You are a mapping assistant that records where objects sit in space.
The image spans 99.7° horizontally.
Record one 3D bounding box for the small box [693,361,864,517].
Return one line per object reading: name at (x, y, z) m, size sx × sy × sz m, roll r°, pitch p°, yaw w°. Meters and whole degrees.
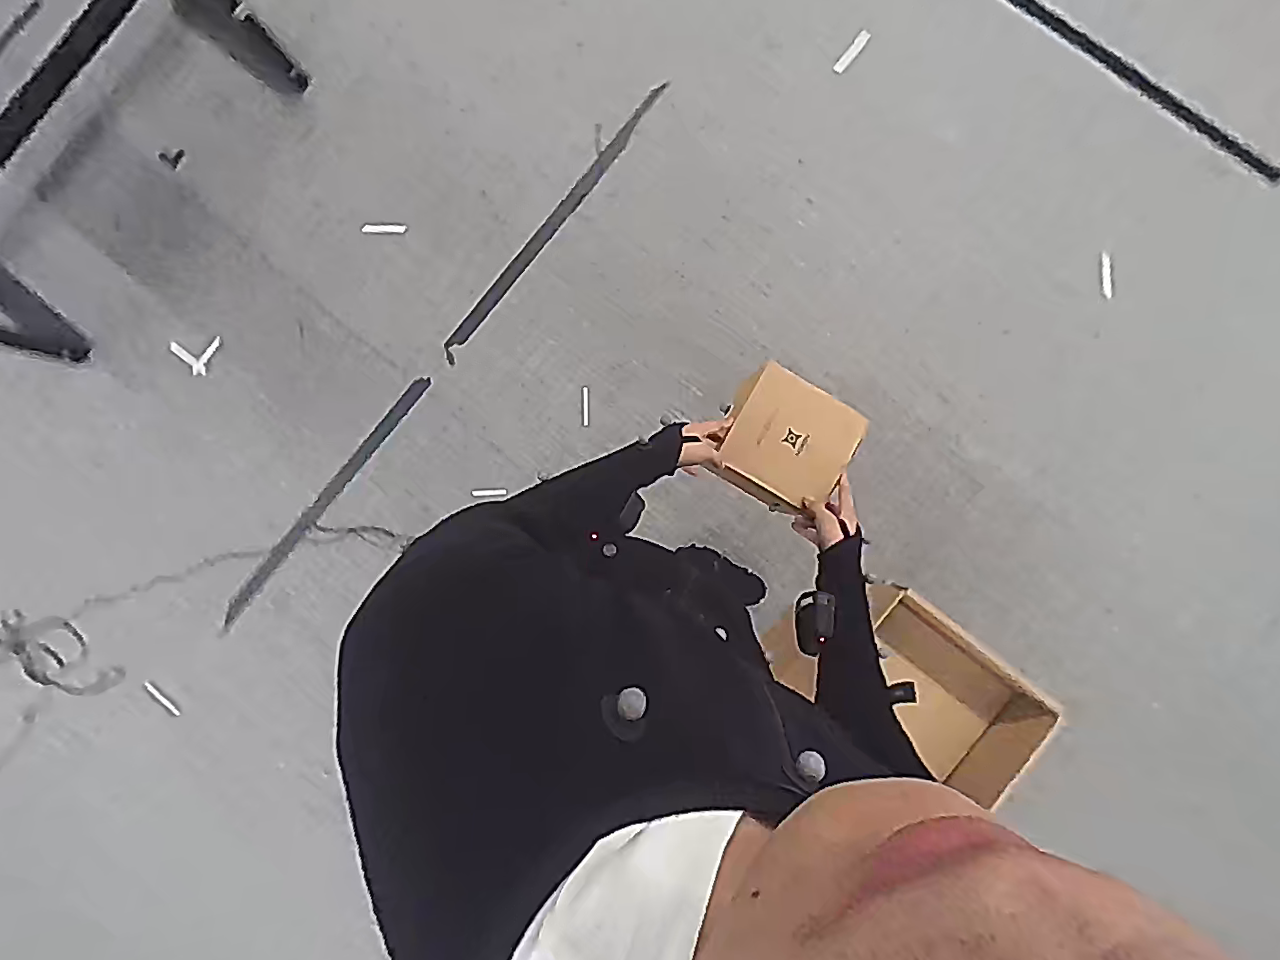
small box at (0.204, -0.058, 0.847) m, size 0.179 × 0.176 × 0.168 m, roll 29°, pitch 87°, yaw -3°
